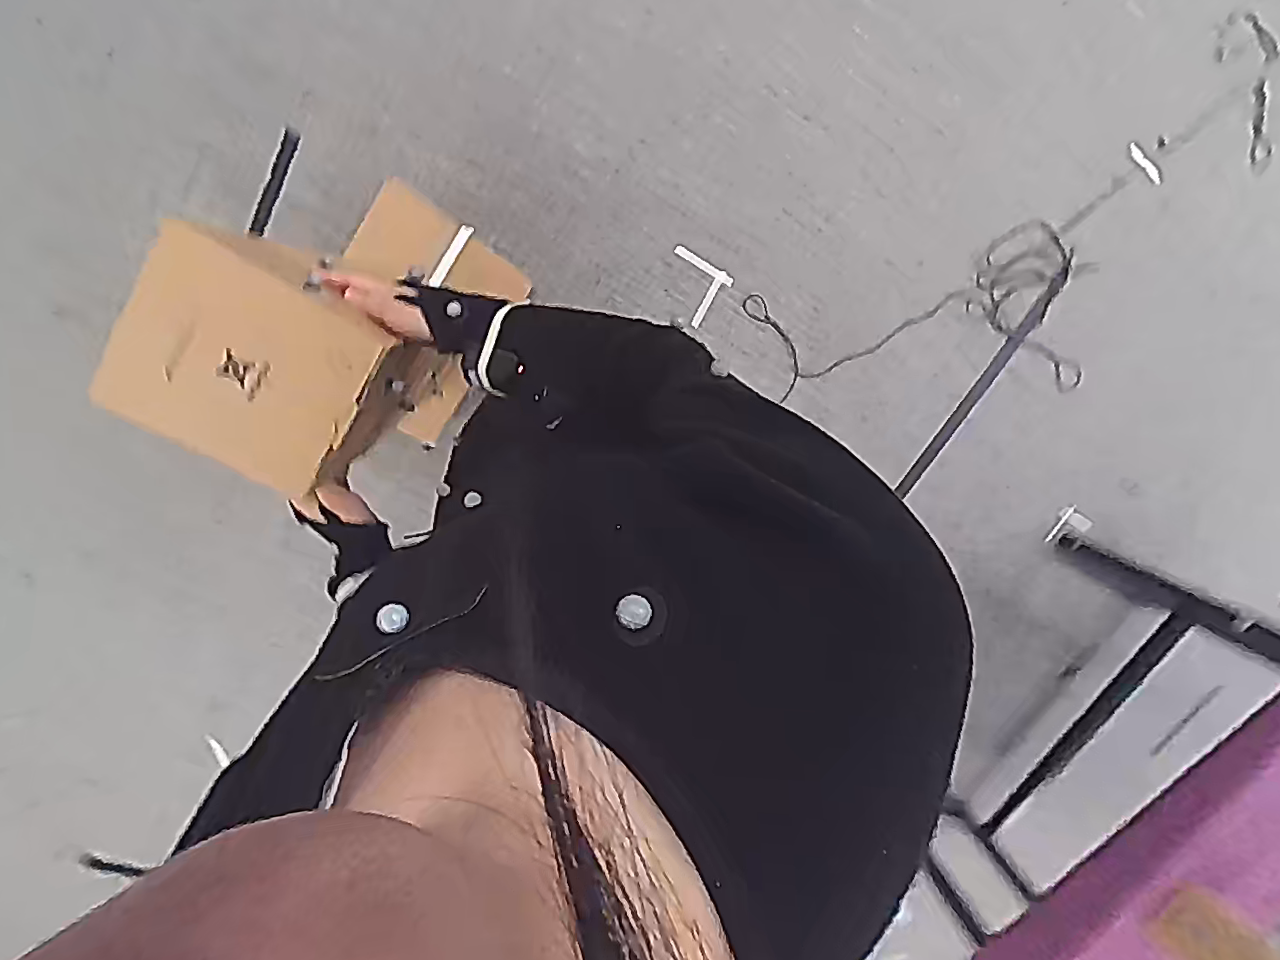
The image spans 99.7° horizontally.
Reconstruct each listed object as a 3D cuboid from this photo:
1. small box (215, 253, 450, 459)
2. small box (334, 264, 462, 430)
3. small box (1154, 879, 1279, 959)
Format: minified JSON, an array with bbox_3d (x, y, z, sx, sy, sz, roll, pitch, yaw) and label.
[{"bbox_3d":[-0.359,-0.156,0.671,0.179,0.176,0.168,30,100,-18],"label":"small box"},{"bbox_3d":[-0.392,-0.204,0.822,0.179,0.176,0.168,32,99,-19],"label":"small box"},{"bbox_3d":[1.401,1.100,1.288,0.179,0.176,0.168,31,100,-18],"label":"small box"}]
